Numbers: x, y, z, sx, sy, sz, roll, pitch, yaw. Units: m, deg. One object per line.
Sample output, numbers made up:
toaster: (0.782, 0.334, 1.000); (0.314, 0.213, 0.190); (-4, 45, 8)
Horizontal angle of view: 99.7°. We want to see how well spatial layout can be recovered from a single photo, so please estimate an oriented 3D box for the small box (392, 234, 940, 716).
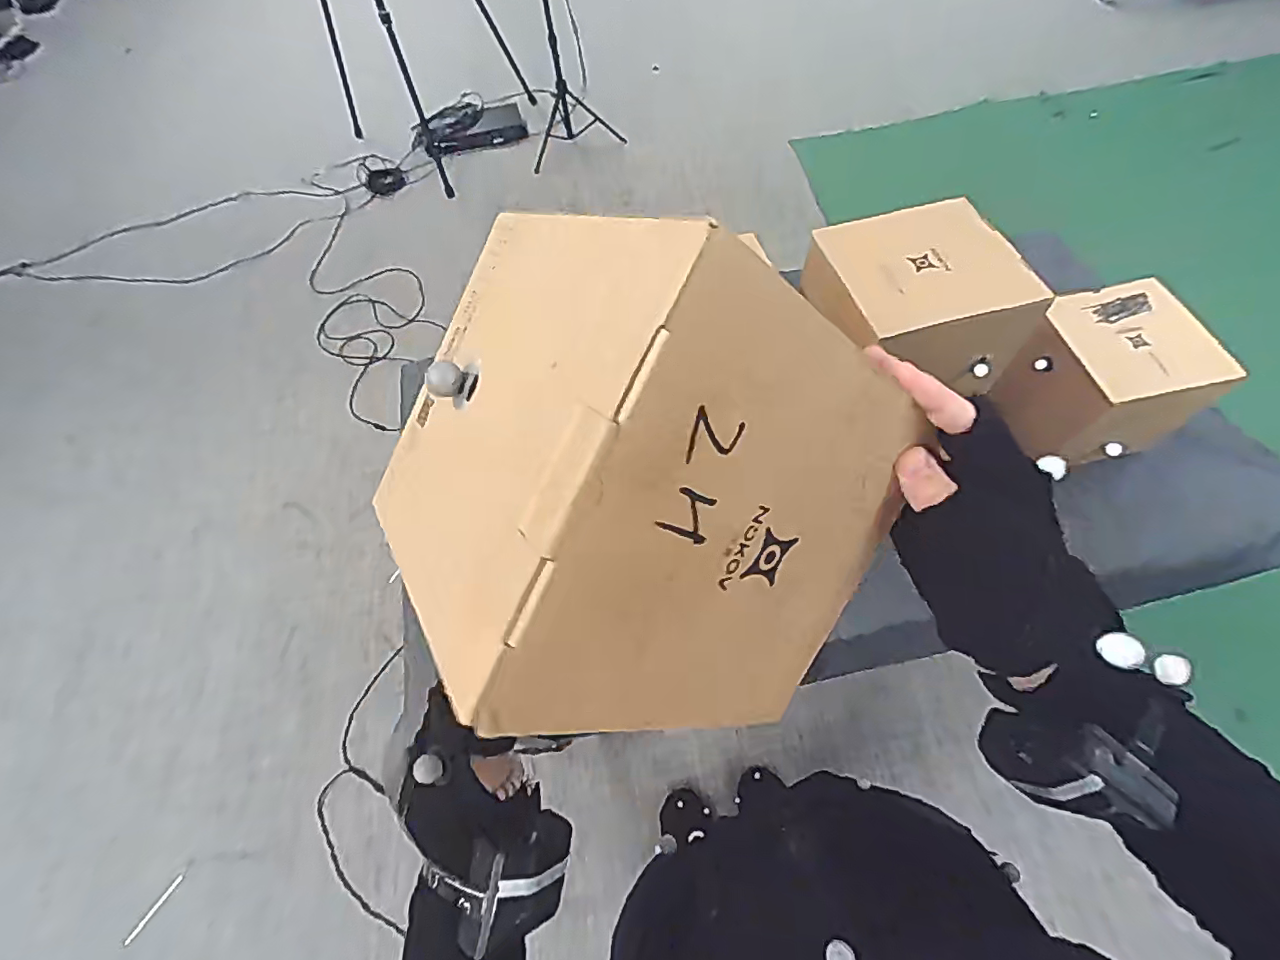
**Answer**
small box: (0.004, -0.007, 0.274); (0.176, 0.179, 0.168); (34, 100, 49)
